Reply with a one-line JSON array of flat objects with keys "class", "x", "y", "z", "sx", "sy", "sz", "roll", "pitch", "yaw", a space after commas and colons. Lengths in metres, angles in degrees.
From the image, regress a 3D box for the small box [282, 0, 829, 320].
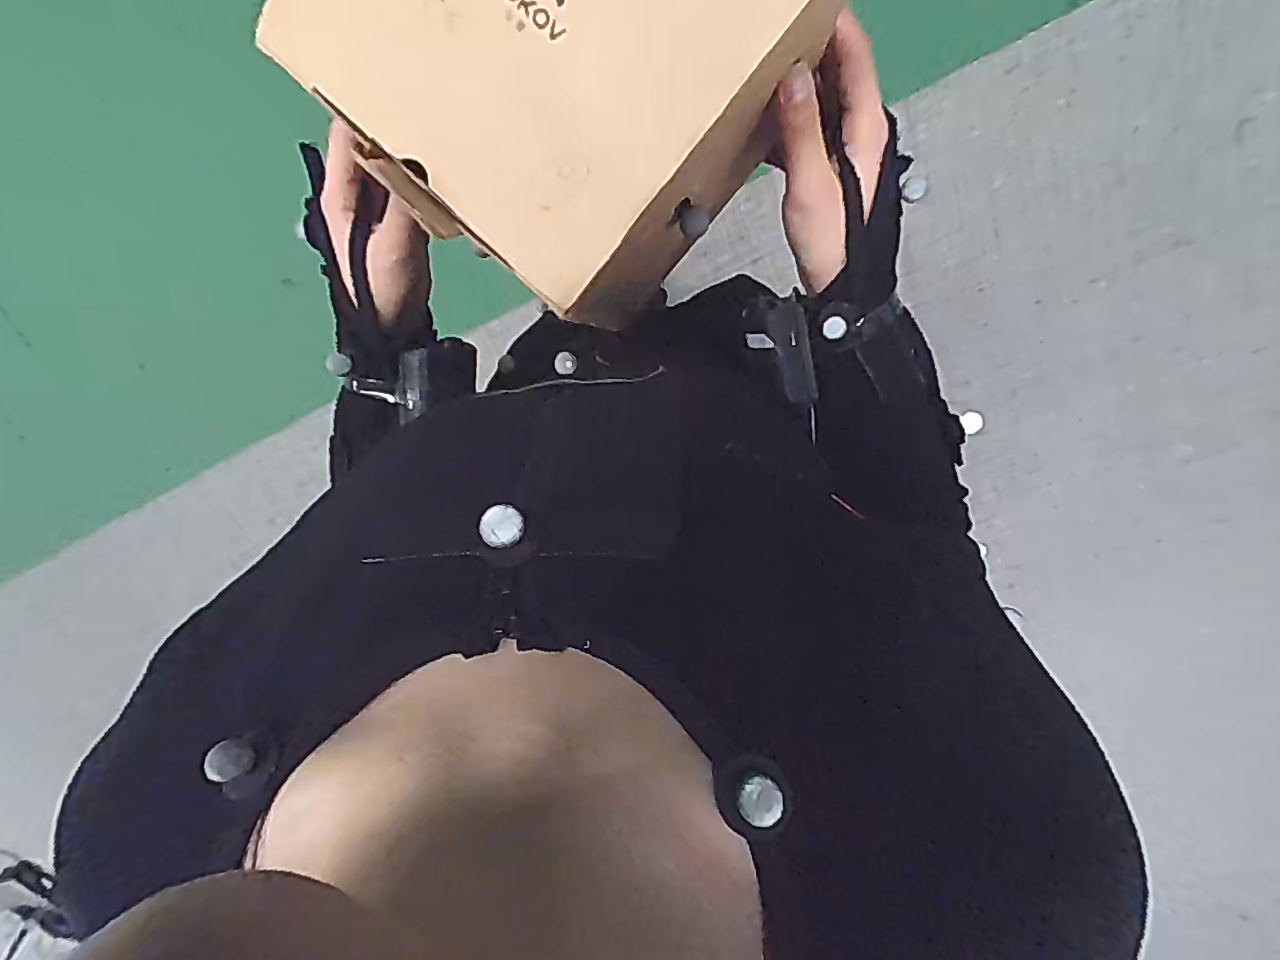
[{"class": "small box", "x": -0.025, "y": -0.202, "z": 0.285, "sx": 0.168, "sy": 0.176, "sz": 0.179, "roll": 41, "pitch": 106, "yaw": -4}]
